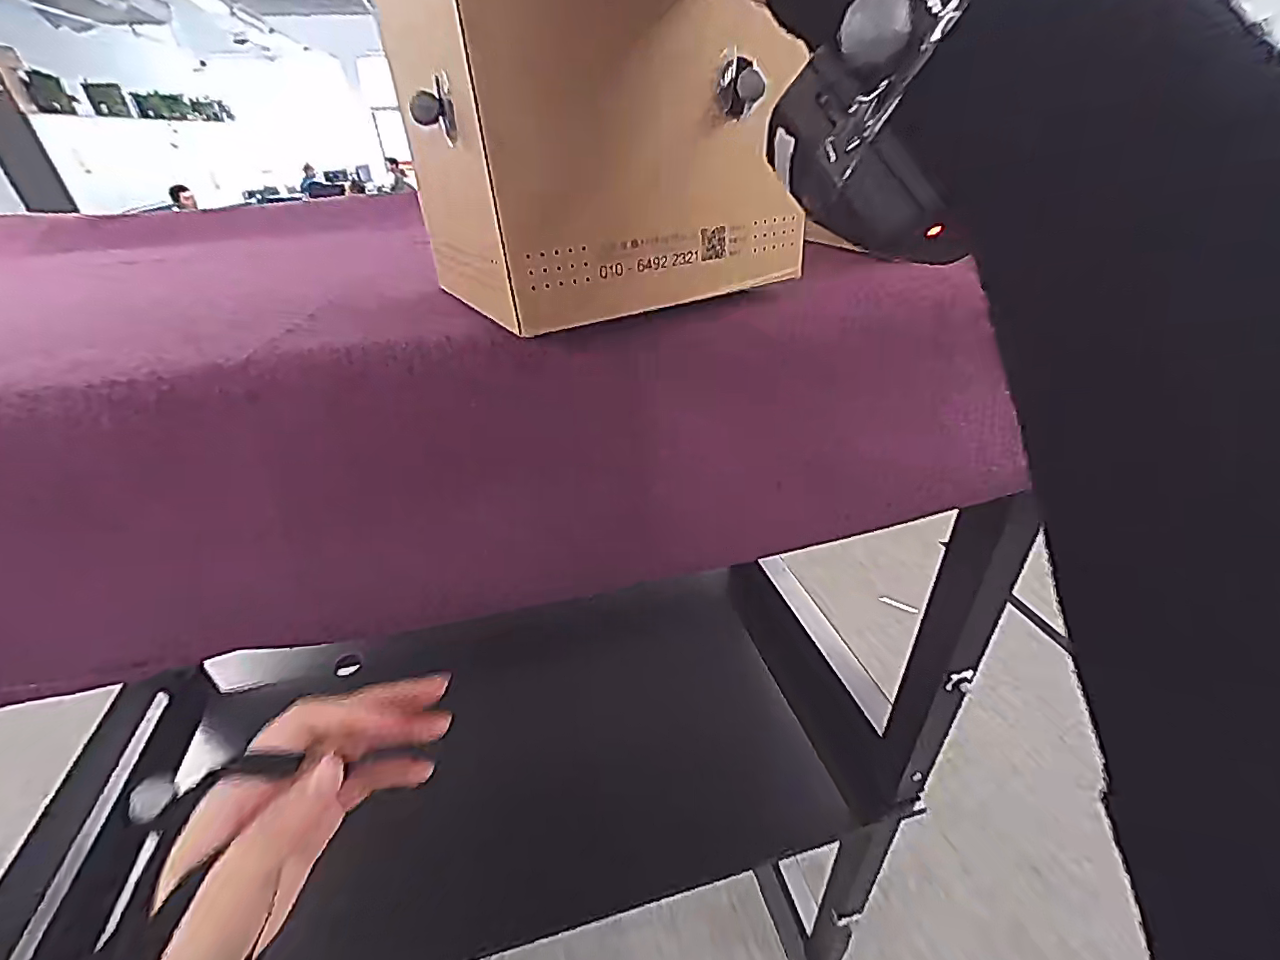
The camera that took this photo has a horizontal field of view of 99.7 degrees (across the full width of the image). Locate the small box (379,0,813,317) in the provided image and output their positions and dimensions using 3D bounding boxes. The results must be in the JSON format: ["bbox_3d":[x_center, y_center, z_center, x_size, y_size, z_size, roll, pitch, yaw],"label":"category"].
[{"bbox_3d":[-0.023,-0.192,0.289,0.168,0.176,0.179,-19,32,-24],"label":"small box"}]

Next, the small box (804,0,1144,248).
[{"bbox_3d":[0.211,-0.279,0.409,0.168,0.176,0.179,-15,34,-16],"label":"small box"}]
